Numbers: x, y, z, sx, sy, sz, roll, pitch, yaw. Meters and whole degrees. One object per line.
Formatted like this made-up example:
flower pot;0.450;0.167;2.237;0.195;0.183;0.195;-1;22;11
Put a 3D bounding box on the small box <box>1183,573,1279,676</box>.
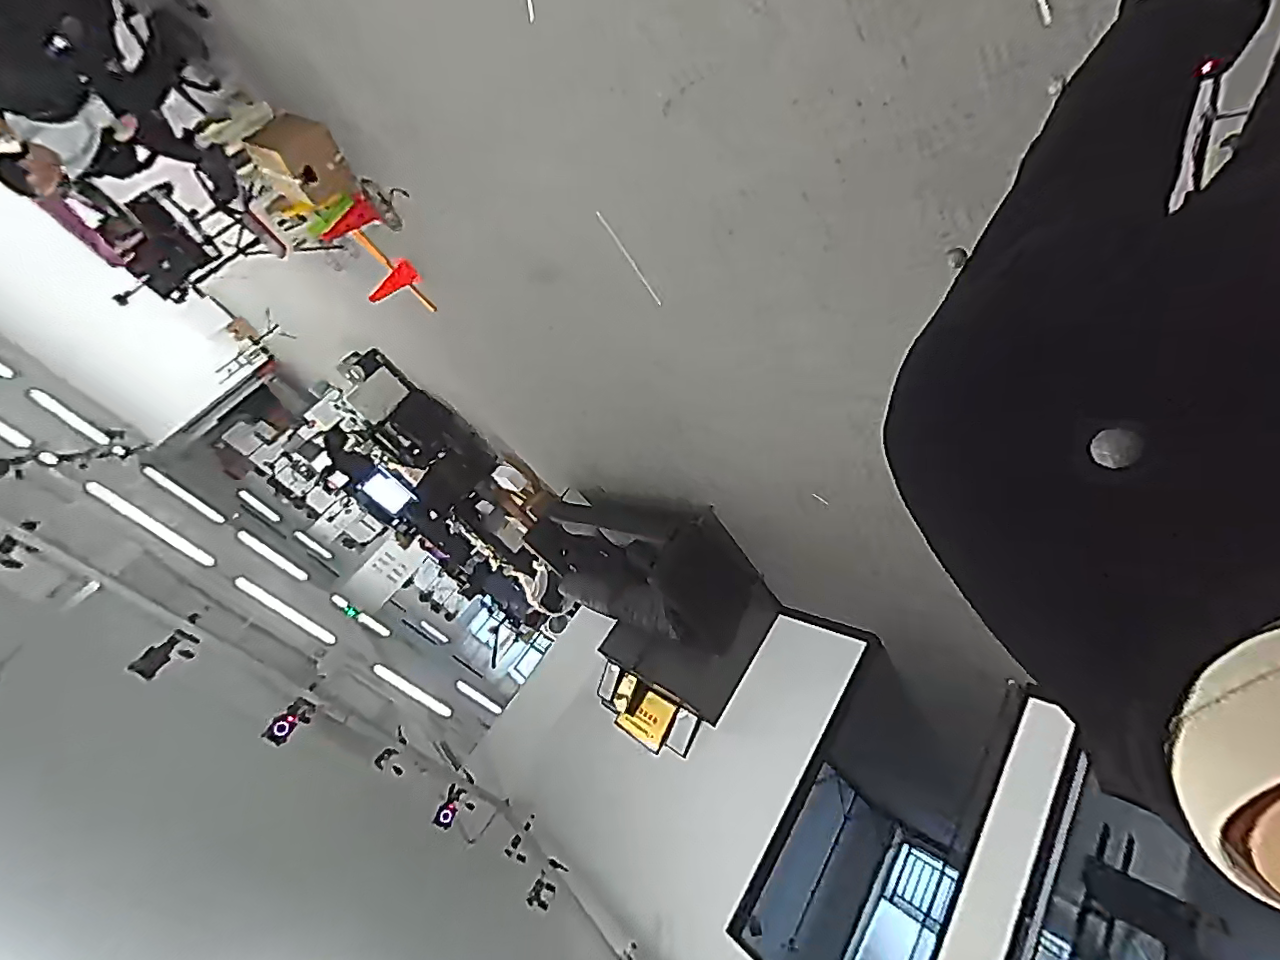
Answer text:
small box;1.544;0.368;1.406;0.168;0.176;0.179;10;145;49
